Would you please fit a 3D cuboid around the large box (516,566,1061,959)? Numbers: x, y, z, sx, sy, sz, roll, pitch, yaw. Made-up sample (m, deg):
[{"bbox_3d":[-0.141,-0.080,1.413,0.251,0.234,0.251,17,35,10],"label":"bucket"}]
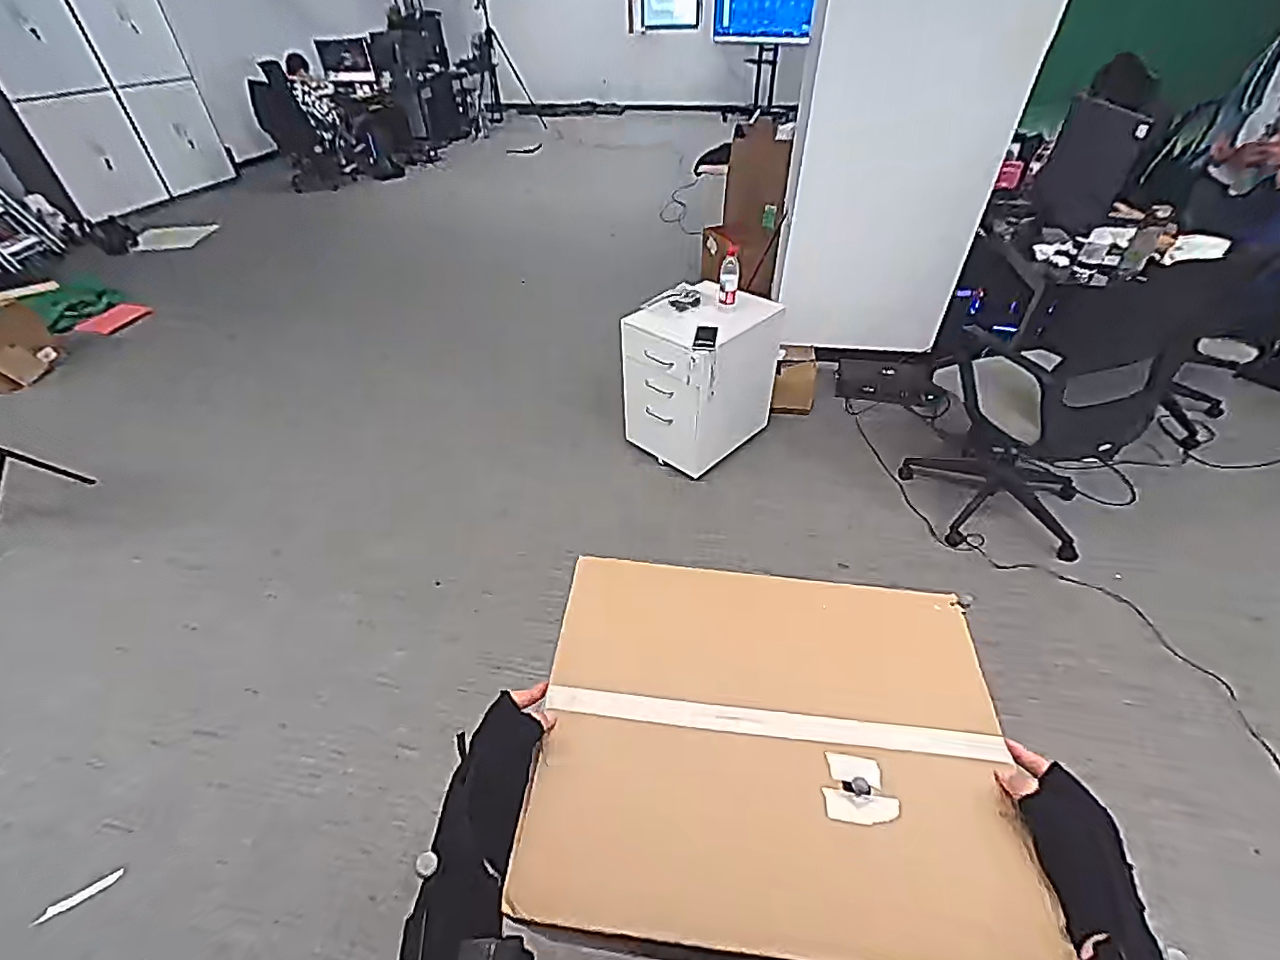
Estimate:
[{"bbox_3d":[0.113,0.323,0.597,0.408,0.320,0.320,6,49,3],"label":"large box"}]
